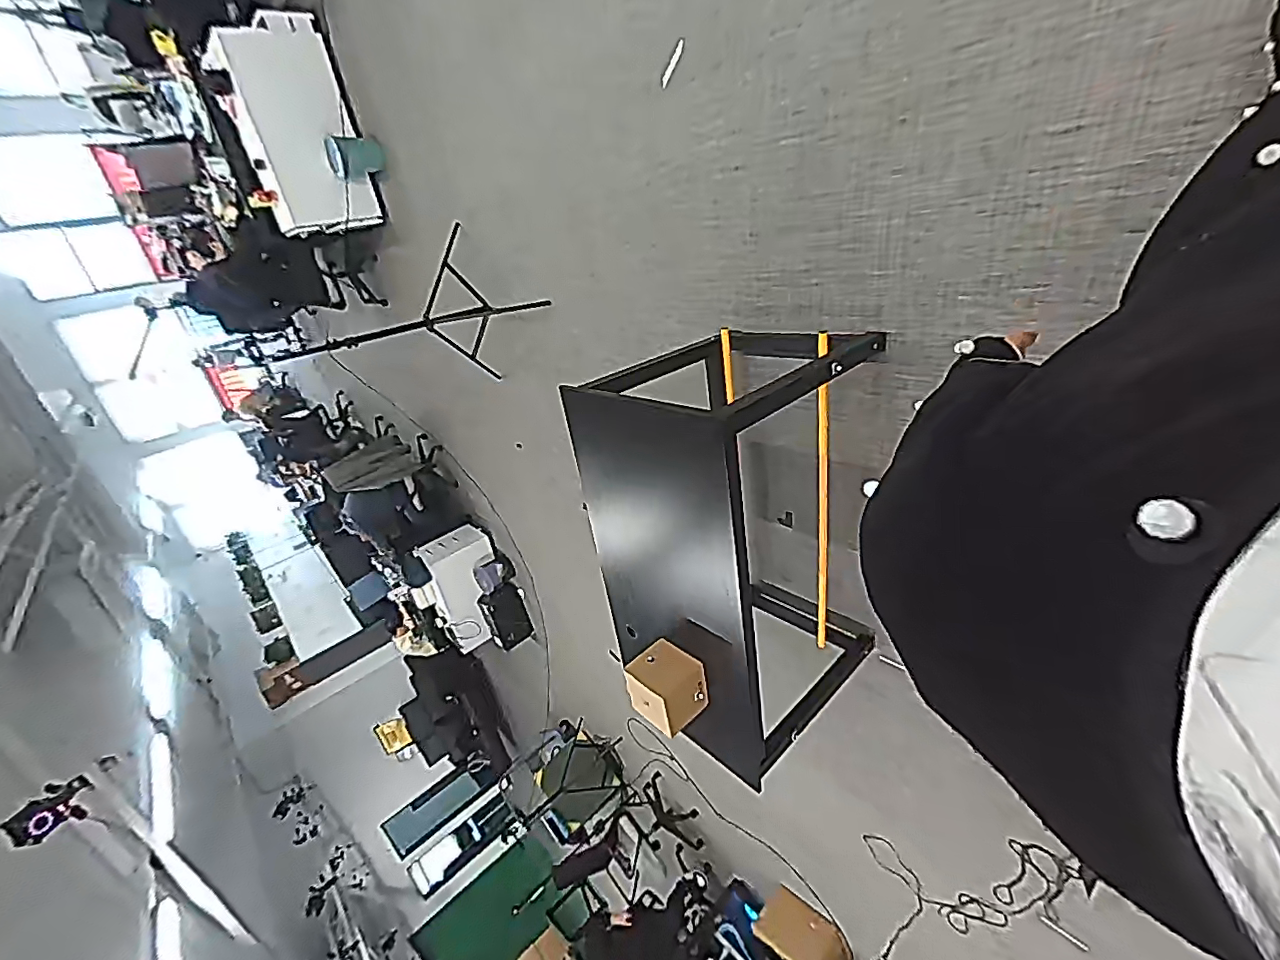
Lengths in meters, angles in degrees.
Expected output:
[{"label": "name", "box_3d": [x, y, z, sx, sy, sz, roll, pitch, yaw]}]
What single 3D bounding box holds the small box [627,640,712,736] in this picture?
[{"label": "small box", "box_3d": [0.090, 0.607, 1.607, 0.179, 0.176, 0.168, 17, 128, 46]}]
